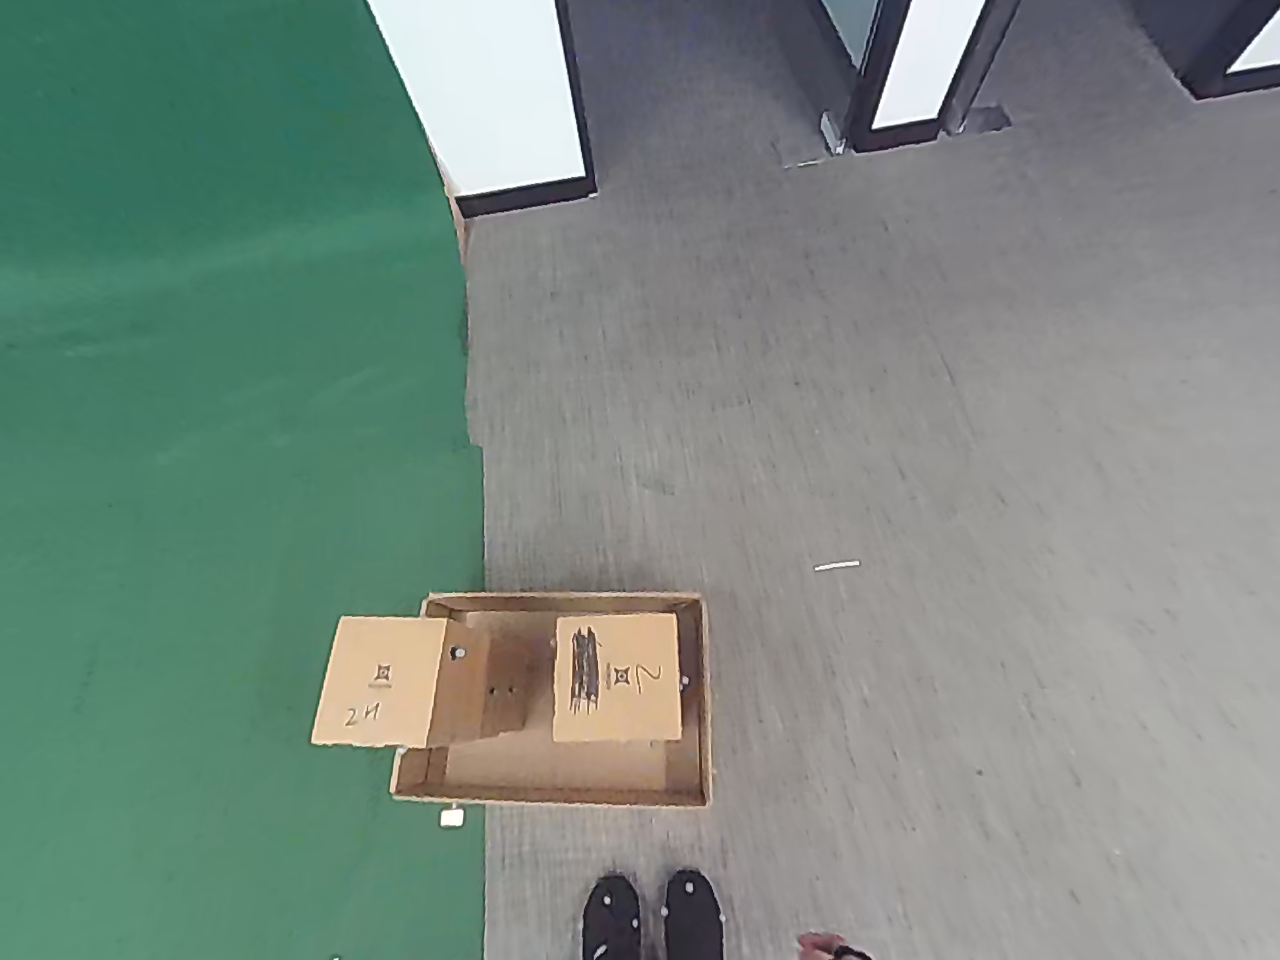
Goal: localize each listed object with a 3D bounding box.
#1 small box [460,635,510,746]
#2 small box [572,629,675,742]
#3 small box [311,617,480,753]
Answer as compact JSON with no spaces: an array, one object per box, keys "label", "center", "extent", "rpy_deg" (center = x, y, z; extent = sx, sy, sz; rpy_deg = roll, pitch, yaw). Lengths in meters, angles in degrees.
[{"label":"small box","center":[-0.347,0.380,0.990],"extent":[0.168,0.176,0.179],"rpy_deg":[3,68,4]},{"label":"small box","center":[-0.023,0.369,0.969],"extent":[0.168,0.176,0.179],"rpy_deg":[-2,67,4]},{"label":"small box","center":[-0.361,0.317,0.838],"extent":[0.168,0.176,0.179],"rpy_deg":[1,67,4]}]
